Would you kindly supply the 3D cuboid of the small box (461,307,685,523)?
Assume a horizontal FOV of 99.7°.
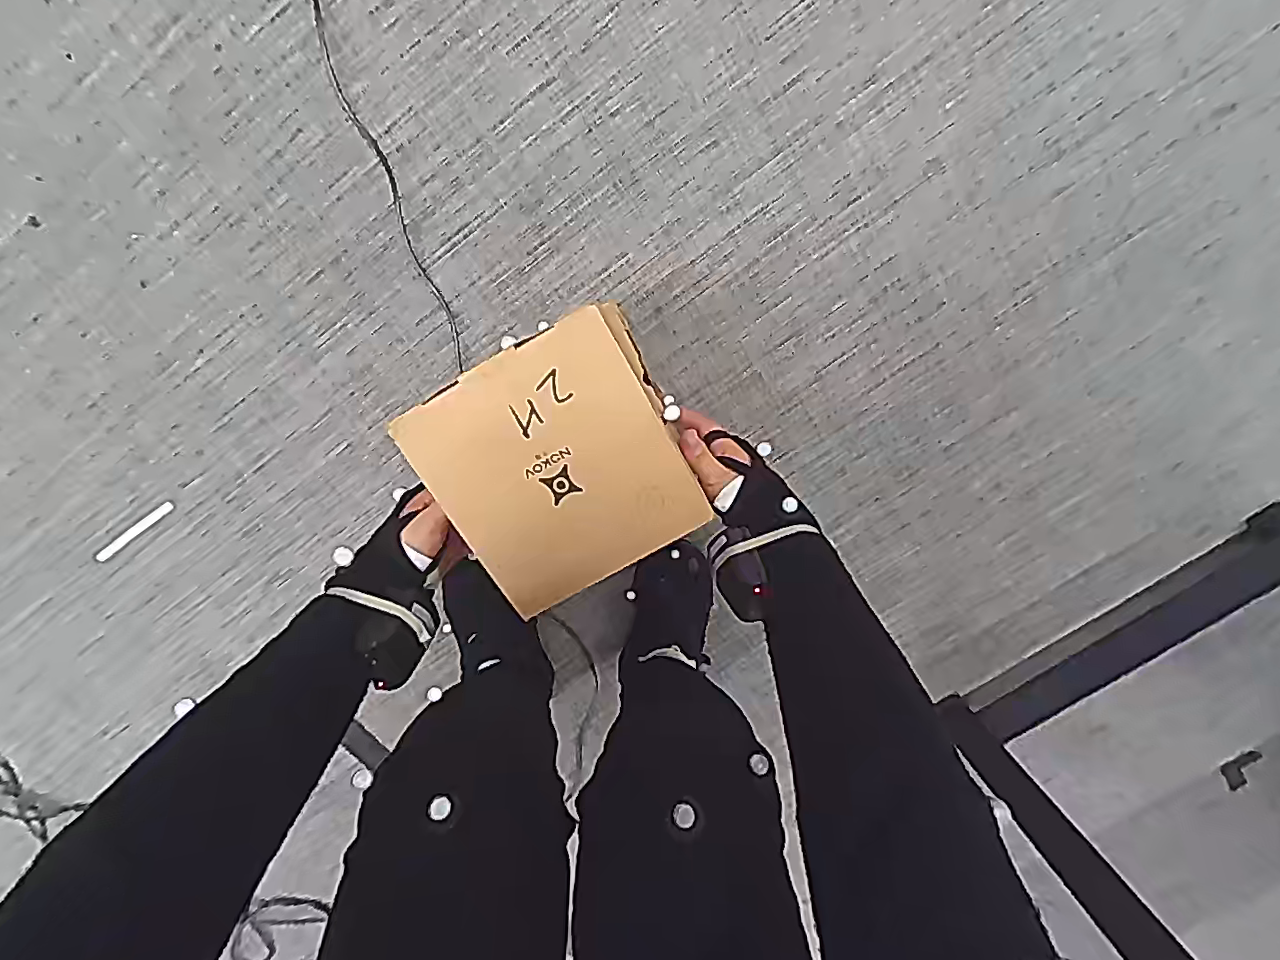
[{"bbox_3d":[-0.068,-0.083,0.615,0.179,0.176,0.168,-26,105,6],"label":"small box"}]
